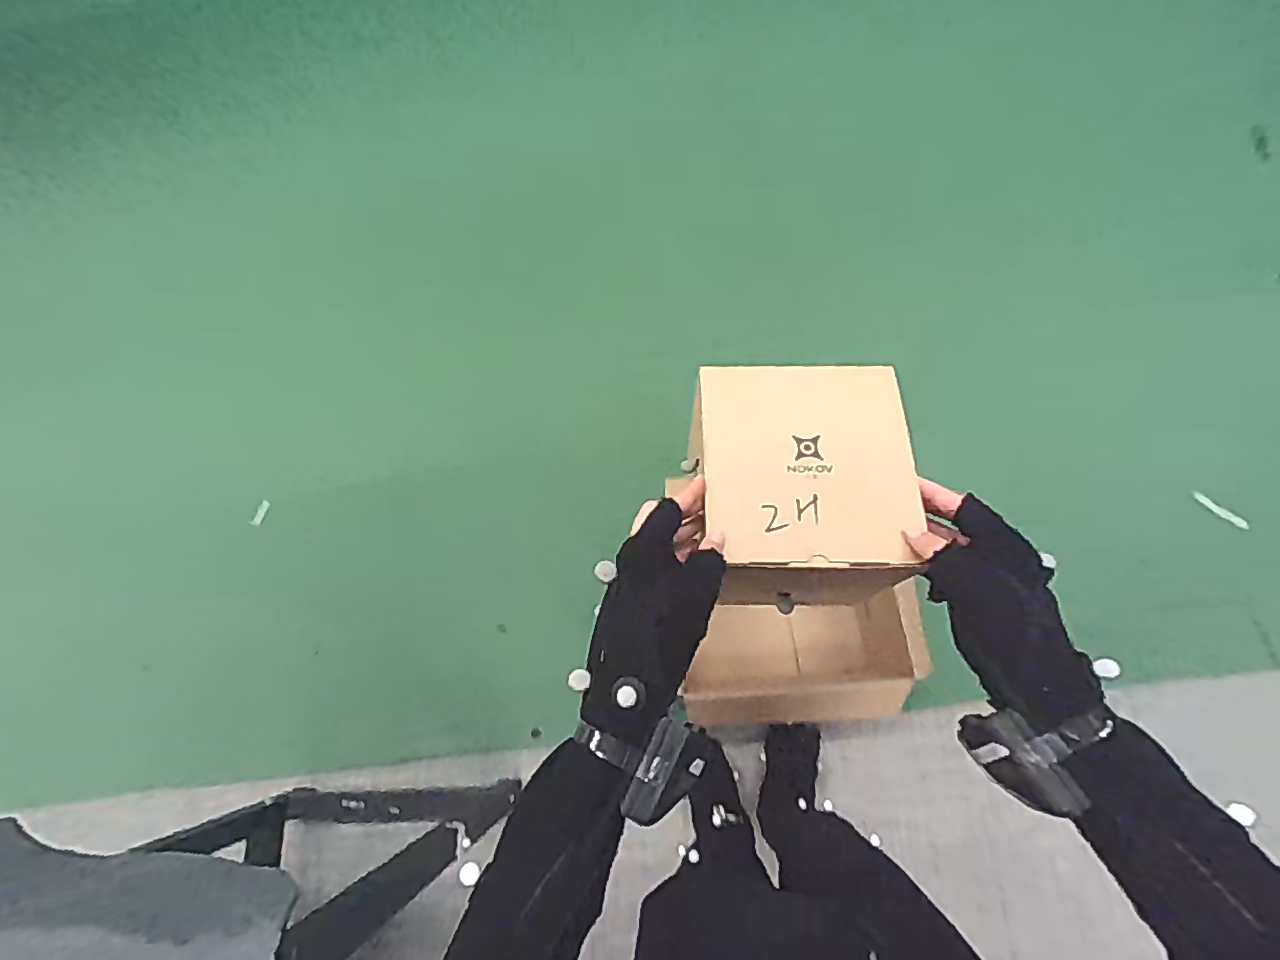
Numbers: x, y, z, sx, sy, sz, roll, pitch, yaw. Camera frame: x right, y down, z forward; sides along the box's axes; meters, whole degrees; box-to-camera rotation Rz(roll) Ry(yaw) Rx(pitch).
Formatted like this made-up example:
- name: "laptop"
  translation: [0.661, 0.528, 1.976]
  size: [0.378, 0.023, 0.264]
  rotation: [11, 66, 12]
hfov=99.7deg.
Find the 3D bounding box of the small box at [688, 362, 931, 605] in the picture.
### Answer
- name: "small box"
  translation: [0.132, 0.011, 0.499]
  size: [0.168, 0.176, 0.179]
  rotation: [0, 67, 2]
